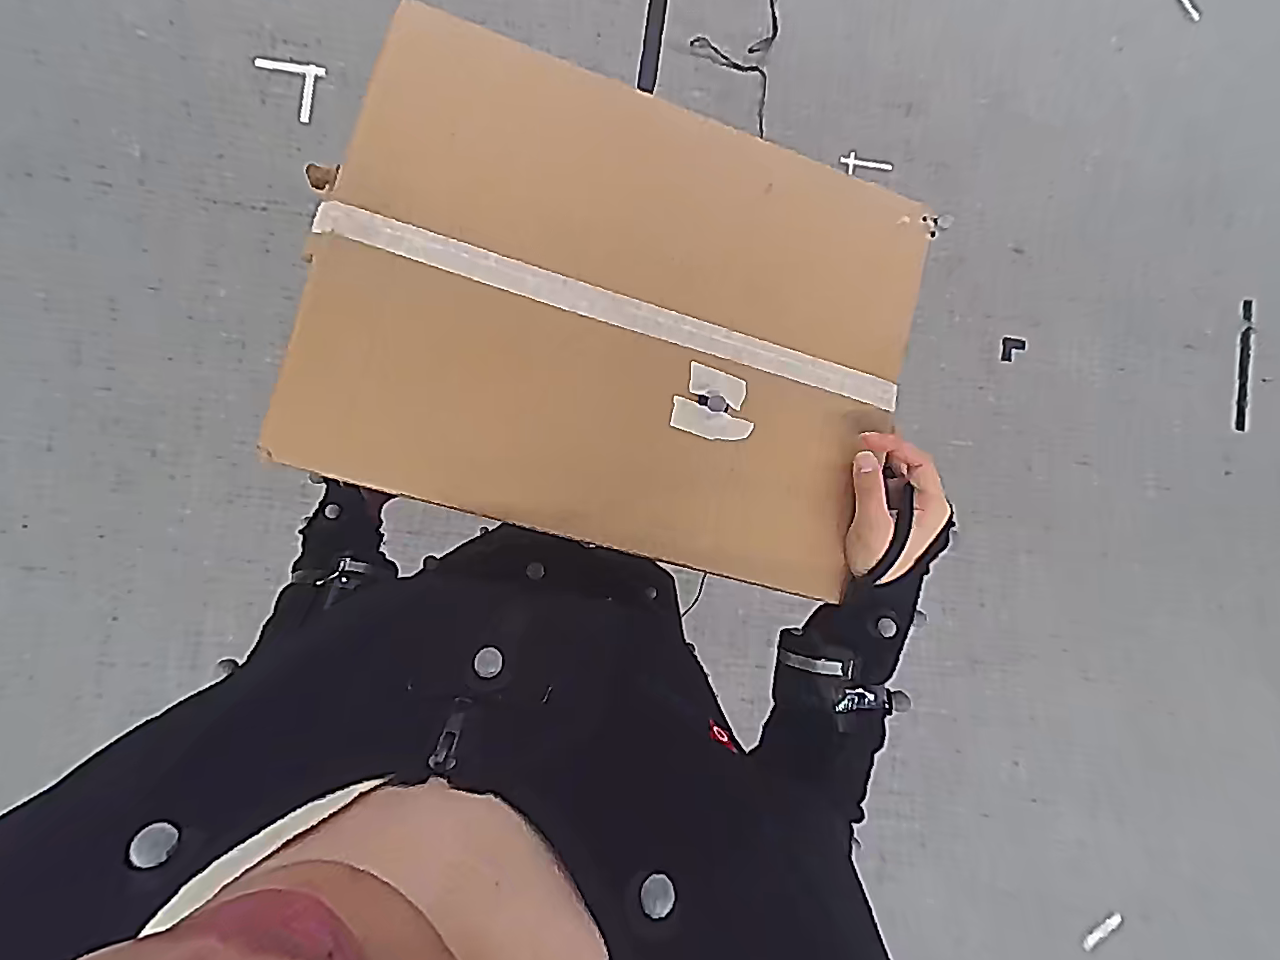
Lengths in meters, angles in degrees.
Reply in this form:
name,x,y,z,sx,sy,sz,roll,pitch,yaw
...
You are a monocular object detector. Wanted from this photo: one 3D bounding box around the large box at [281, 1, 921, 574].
name,x,y,z,sx,sy,sz,roll,pitch,yaw
large box,-0.030,-0.118,0.525,0.408,0.320,0.320,16,86,-11
